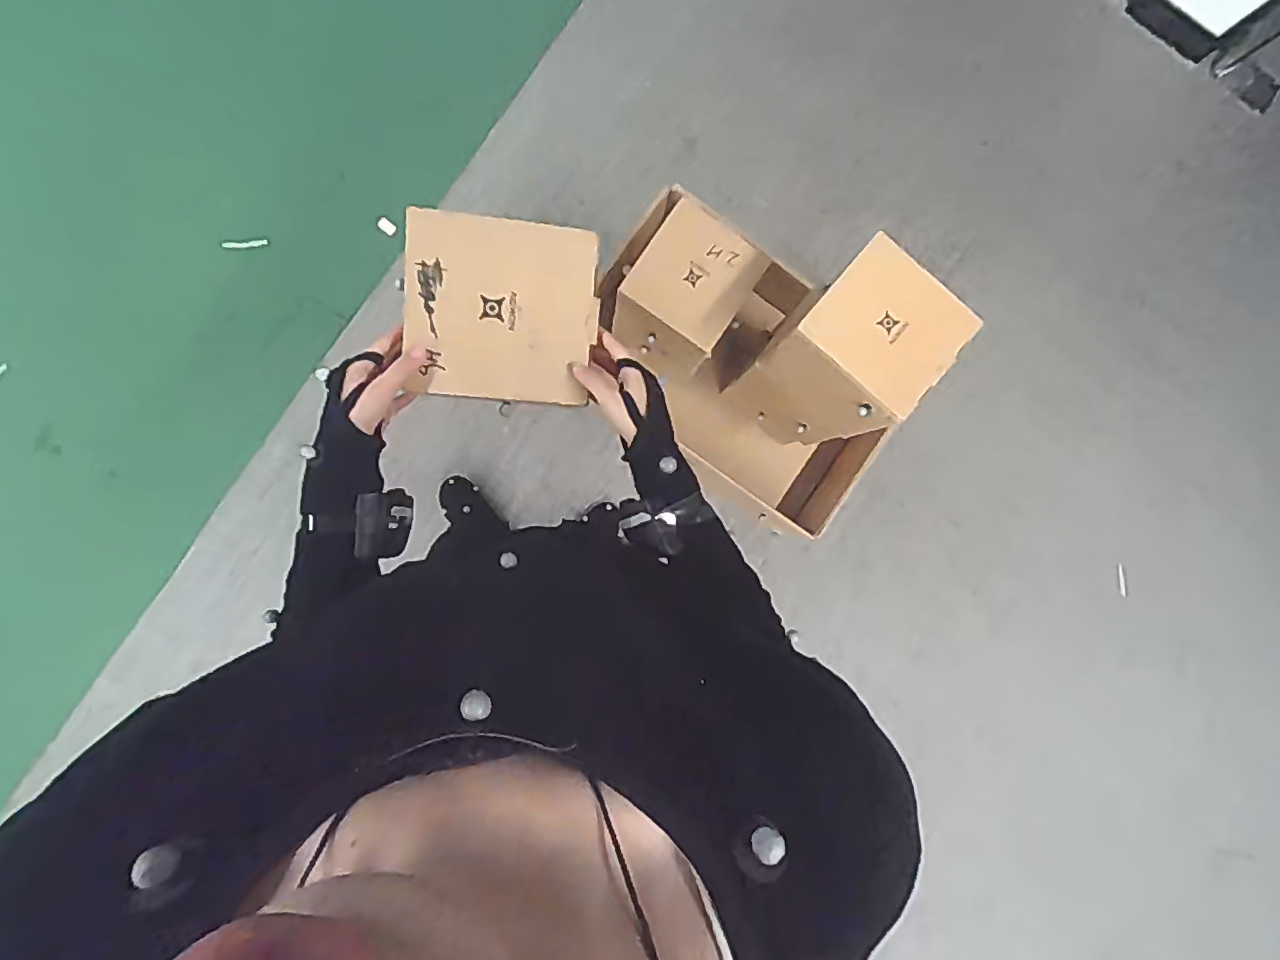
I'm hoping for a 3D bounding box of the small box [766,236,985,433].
[{"bbox_3d":[0.299,-0.179,0.731,0.179,0.176,0.168,41,87,-2],"label":"small box"}]

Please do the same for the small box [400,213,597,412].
[{"bbox_3d":[-0.147,-0.164,0.585,0.179,0.176,0.168,3,96,-11],"label":"small box"}]

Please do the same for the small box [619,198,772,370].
[{"bbox_3d":[0.079,-0.301,0.876,0.168,0.176,0.179,35,88,-4],"label":"small box"}]
